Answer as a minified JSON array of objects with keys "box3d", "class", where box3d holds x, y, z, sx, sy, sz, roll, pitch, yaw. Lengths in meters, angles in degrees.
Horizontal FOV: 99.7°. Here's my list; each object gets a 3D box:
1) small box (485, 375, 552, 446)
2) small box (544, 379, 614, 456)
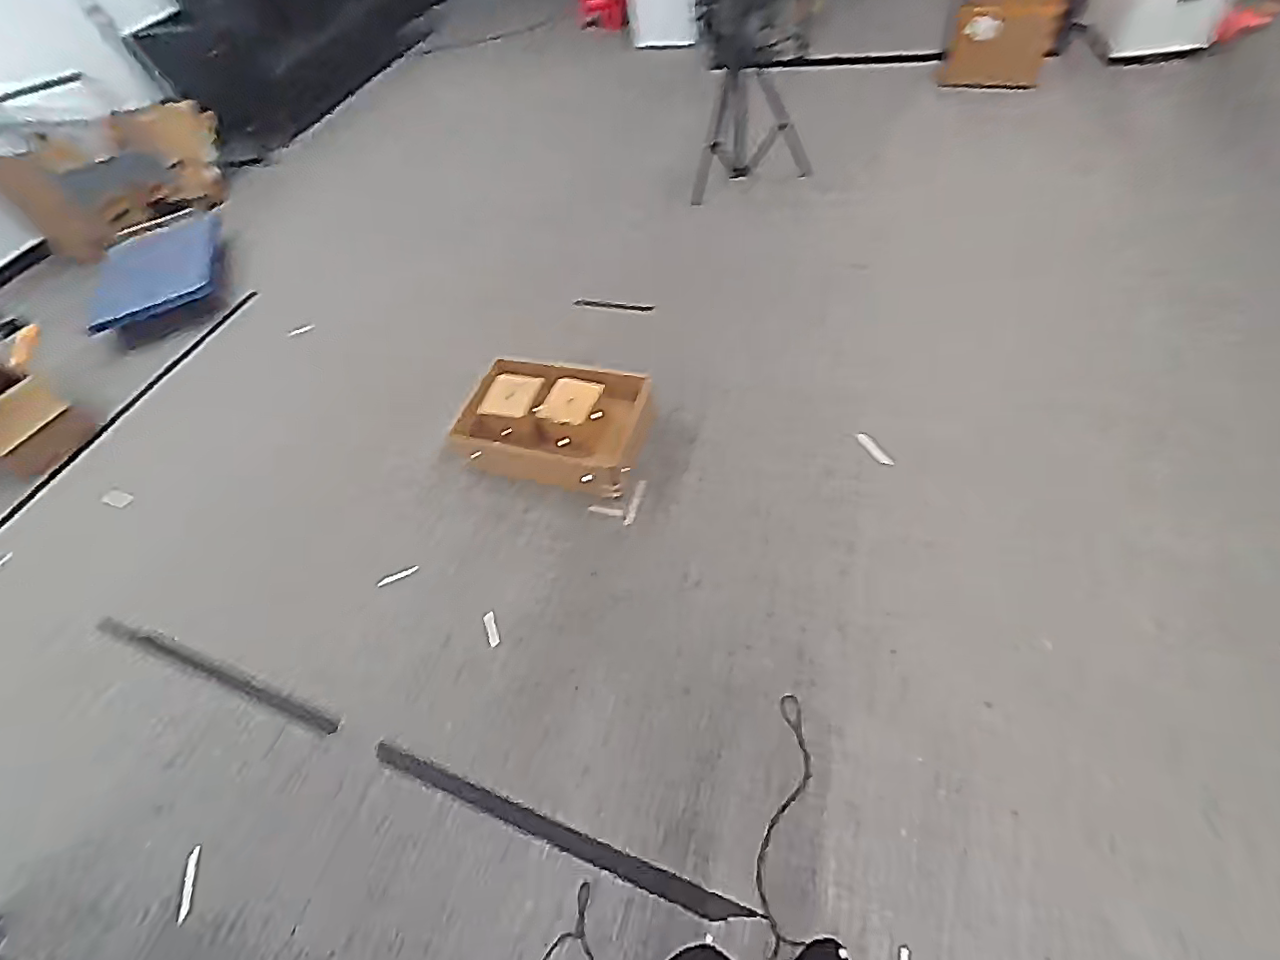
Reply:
[{"box3d":[-0.409,-0.240,1.899,0.168,0.176,0.179,11,58,15],"class":"small box"},{"box3d":[-0.199,-0.213,1.847,0.168,0.176,0.179,16,60,21],"class":"small box"}]
